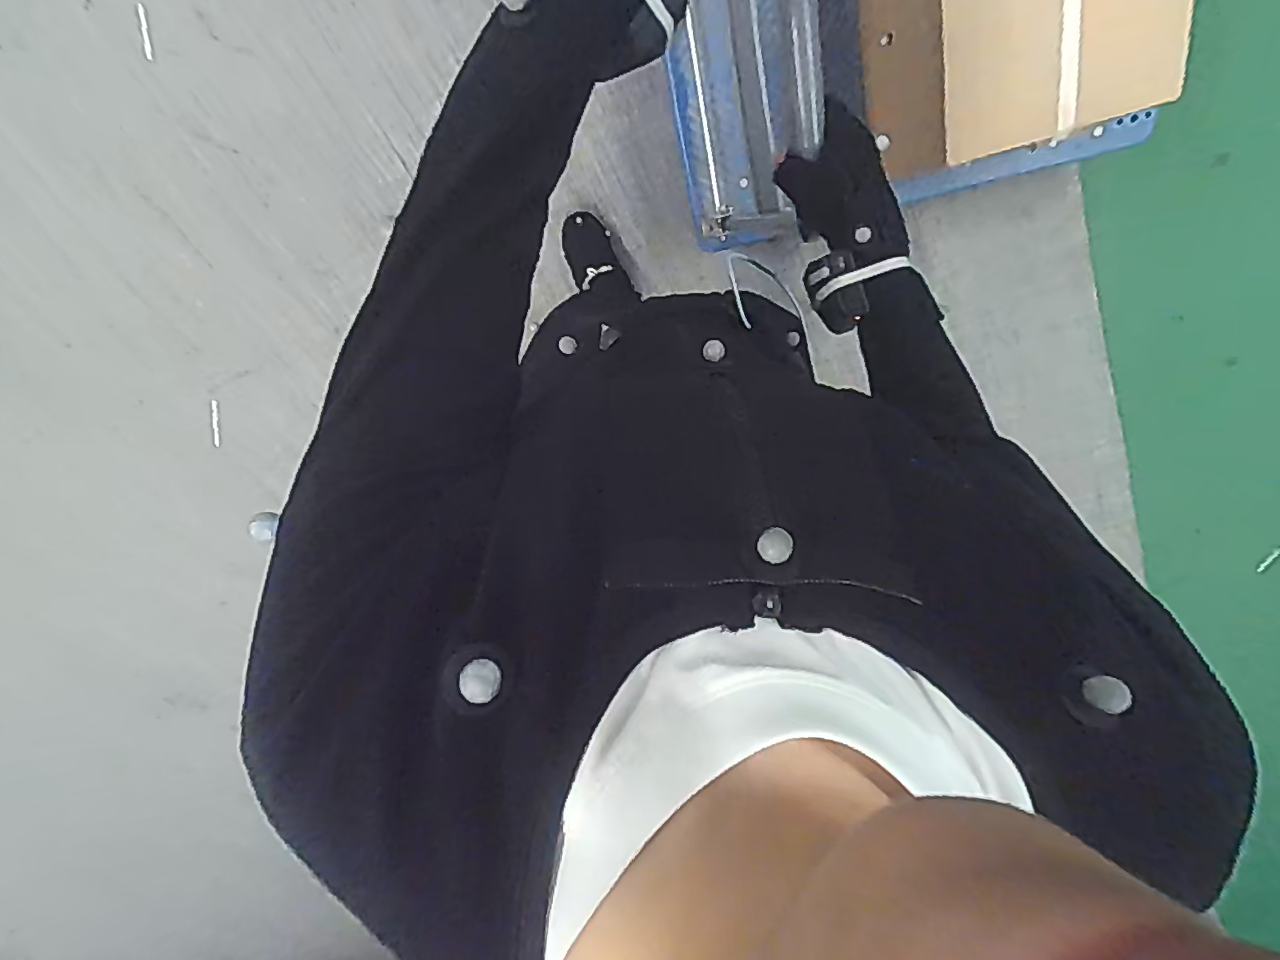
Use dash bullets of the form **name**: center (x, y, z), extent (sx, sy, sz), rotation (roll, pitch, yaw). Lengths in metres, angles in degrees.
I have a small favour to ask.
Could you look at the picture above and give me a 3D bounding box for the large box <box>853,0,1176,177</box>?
- **large box**: center (0.537, -0.740, 0.829), extent (0.320, 0.320, 0.408), rotation (-13, 114, 7)
